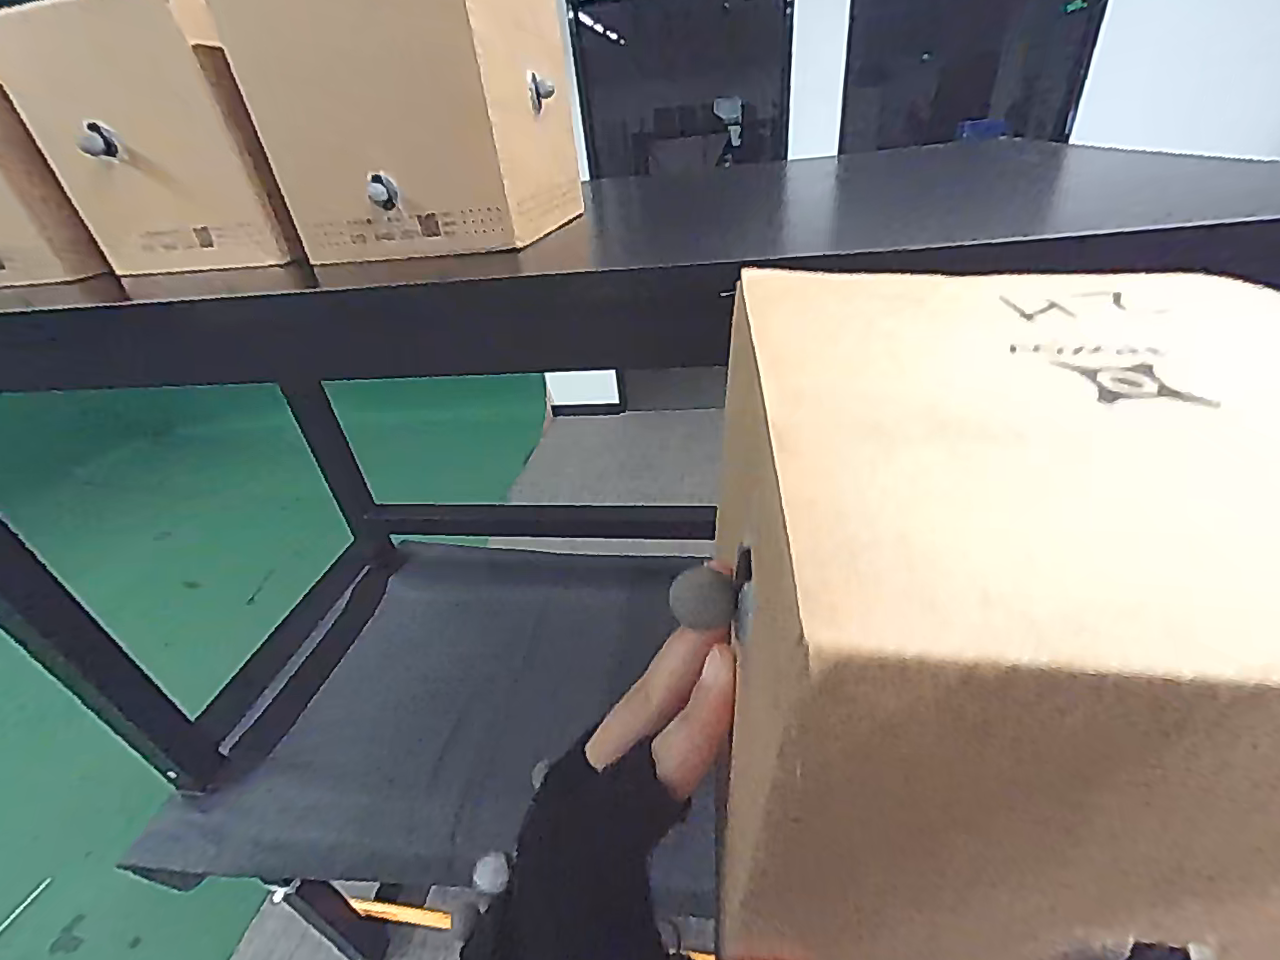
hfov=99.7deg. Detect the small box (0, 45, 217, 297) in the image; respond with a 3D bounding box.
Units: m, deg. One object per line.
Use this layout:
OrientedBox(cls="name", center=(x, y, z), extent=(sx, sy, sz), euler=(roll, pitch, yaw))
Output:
OrientedBox(cls="small box", center=(-0.536, -0.272, 0.488), extent=(0.168, 0.176, 0.179), euler=(1, 35, 11))
